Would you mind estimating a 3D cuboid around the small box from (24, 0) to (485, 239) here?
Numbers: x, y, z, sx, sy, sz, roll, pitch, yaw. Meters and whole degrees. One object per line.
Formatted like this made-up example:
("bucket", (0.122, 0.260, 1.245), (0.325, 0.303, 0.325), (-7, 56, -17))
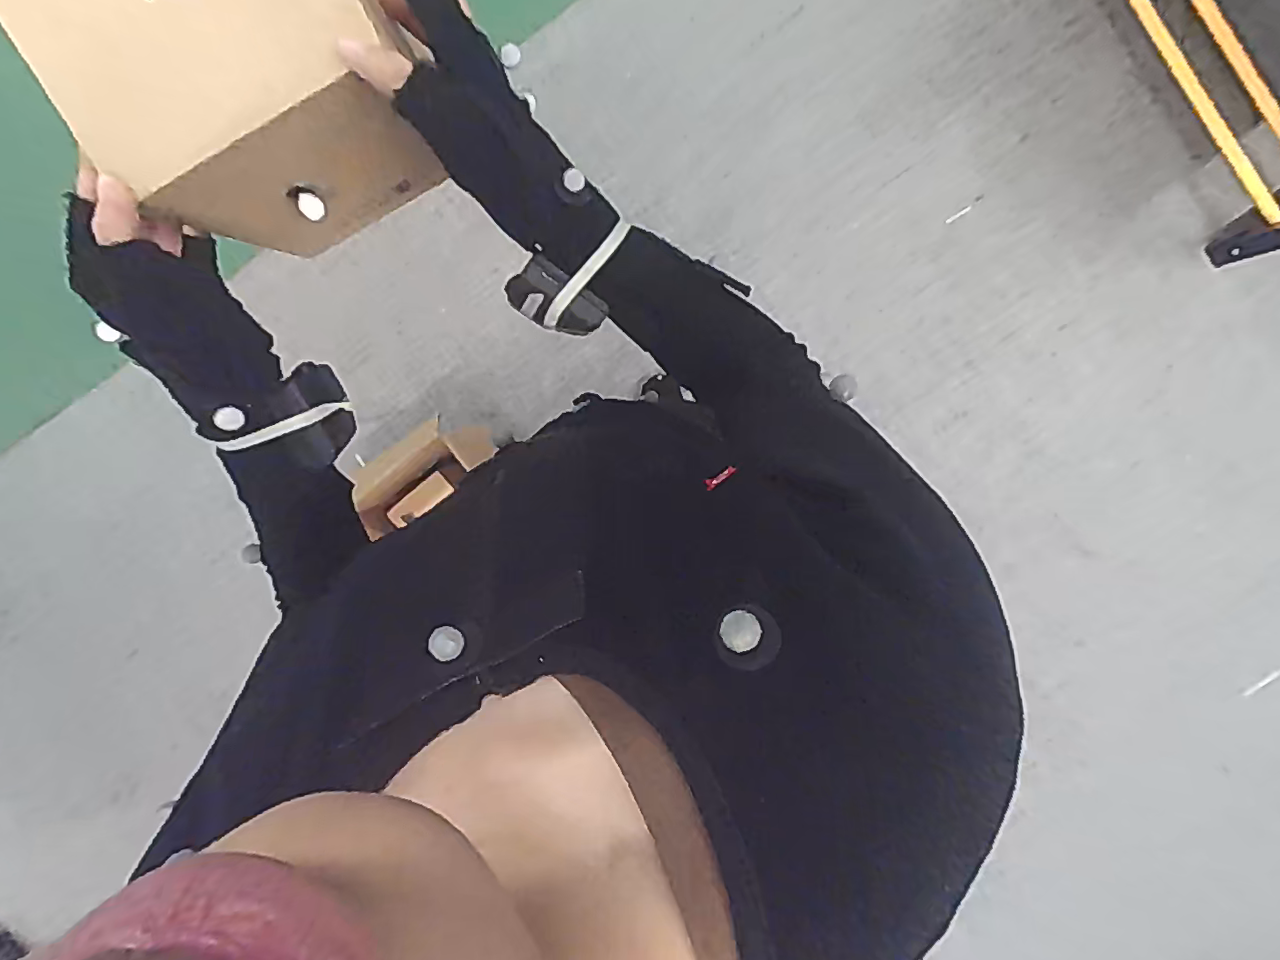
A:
("small box", (-0.227, -0.277, 0.347), (0.168, 0.176, 0.179), (-27, 102, 6))
